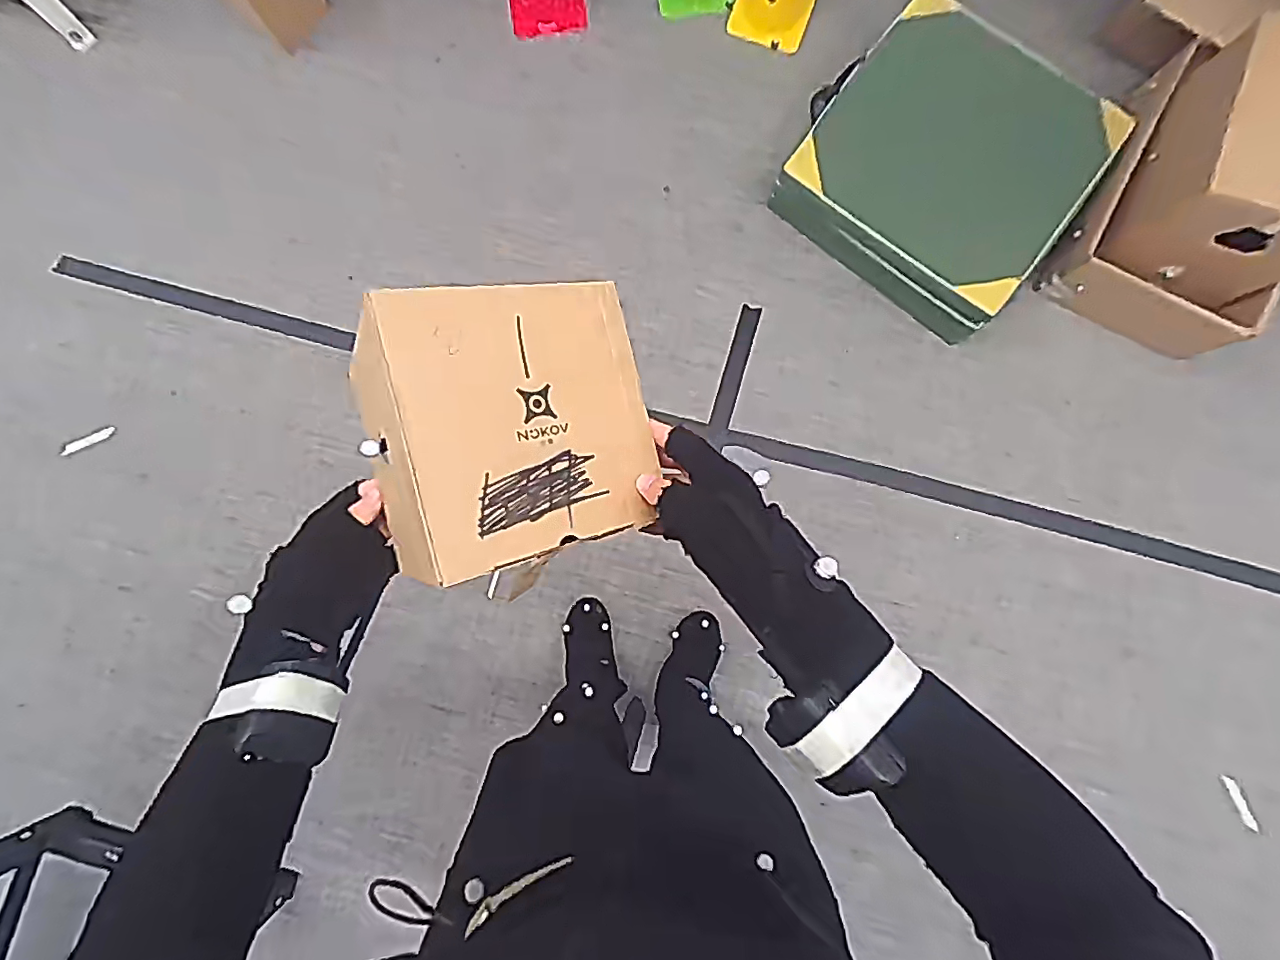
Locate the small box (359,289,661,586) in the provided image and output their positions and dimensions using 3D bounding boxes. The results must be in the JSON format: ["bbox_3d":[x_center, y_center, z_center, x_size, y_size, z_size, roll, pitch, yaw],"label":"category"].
[{"bbox_3d":[-0.111,-0.030,0.425,0.168,0.176,0.179,-15,91,-30],"label":"small box"}]
